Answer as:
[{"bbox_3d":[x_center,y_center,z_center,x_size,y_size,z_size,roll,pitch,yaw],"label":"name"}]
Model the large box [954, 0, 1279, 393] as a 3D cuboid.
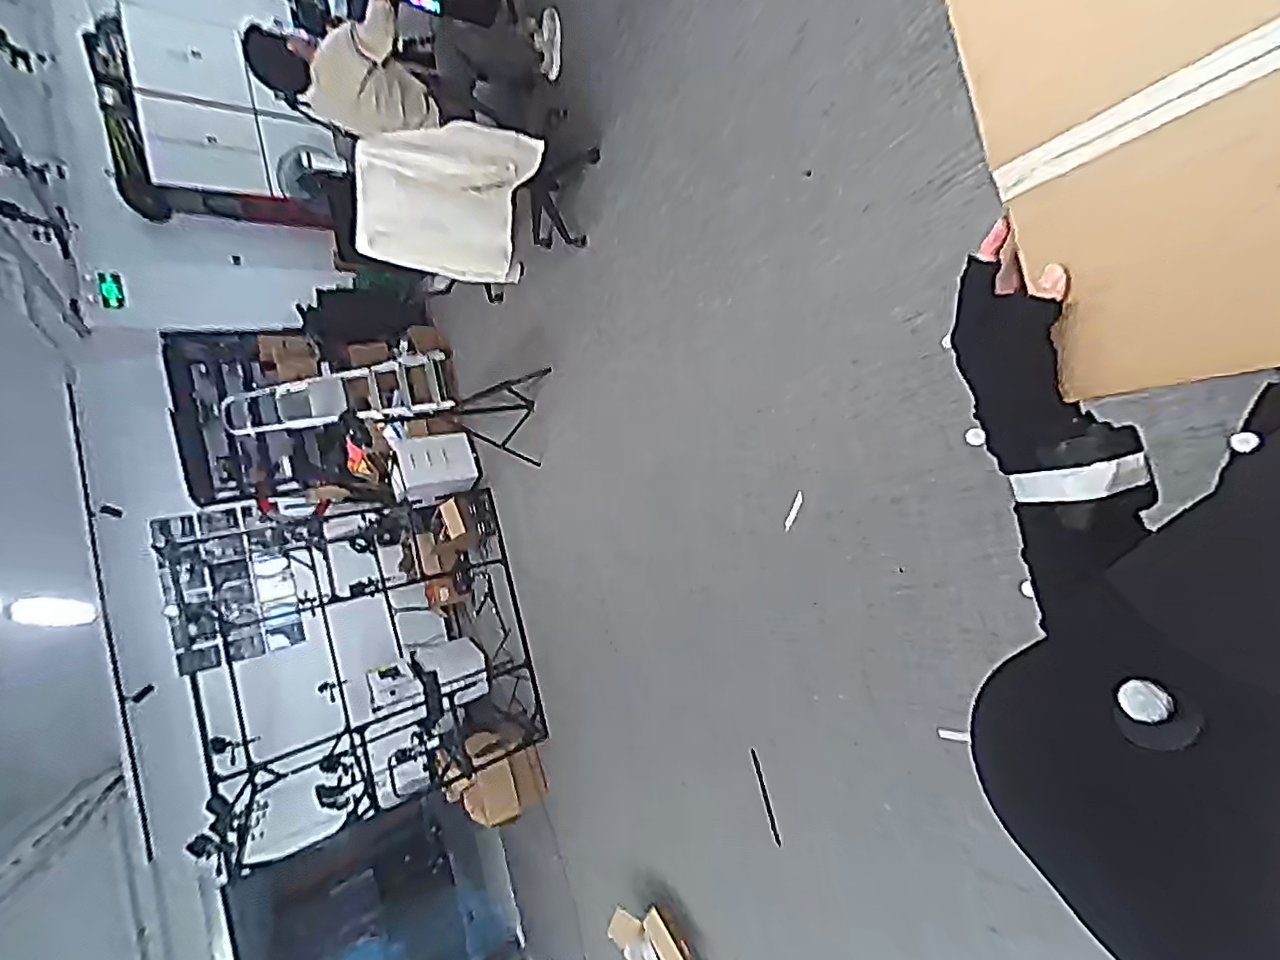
[{"bbox_3d":[0.471,-0.275,0.283,0.408,0.320,0.320,-9,105,58],"label":"large box"}]
